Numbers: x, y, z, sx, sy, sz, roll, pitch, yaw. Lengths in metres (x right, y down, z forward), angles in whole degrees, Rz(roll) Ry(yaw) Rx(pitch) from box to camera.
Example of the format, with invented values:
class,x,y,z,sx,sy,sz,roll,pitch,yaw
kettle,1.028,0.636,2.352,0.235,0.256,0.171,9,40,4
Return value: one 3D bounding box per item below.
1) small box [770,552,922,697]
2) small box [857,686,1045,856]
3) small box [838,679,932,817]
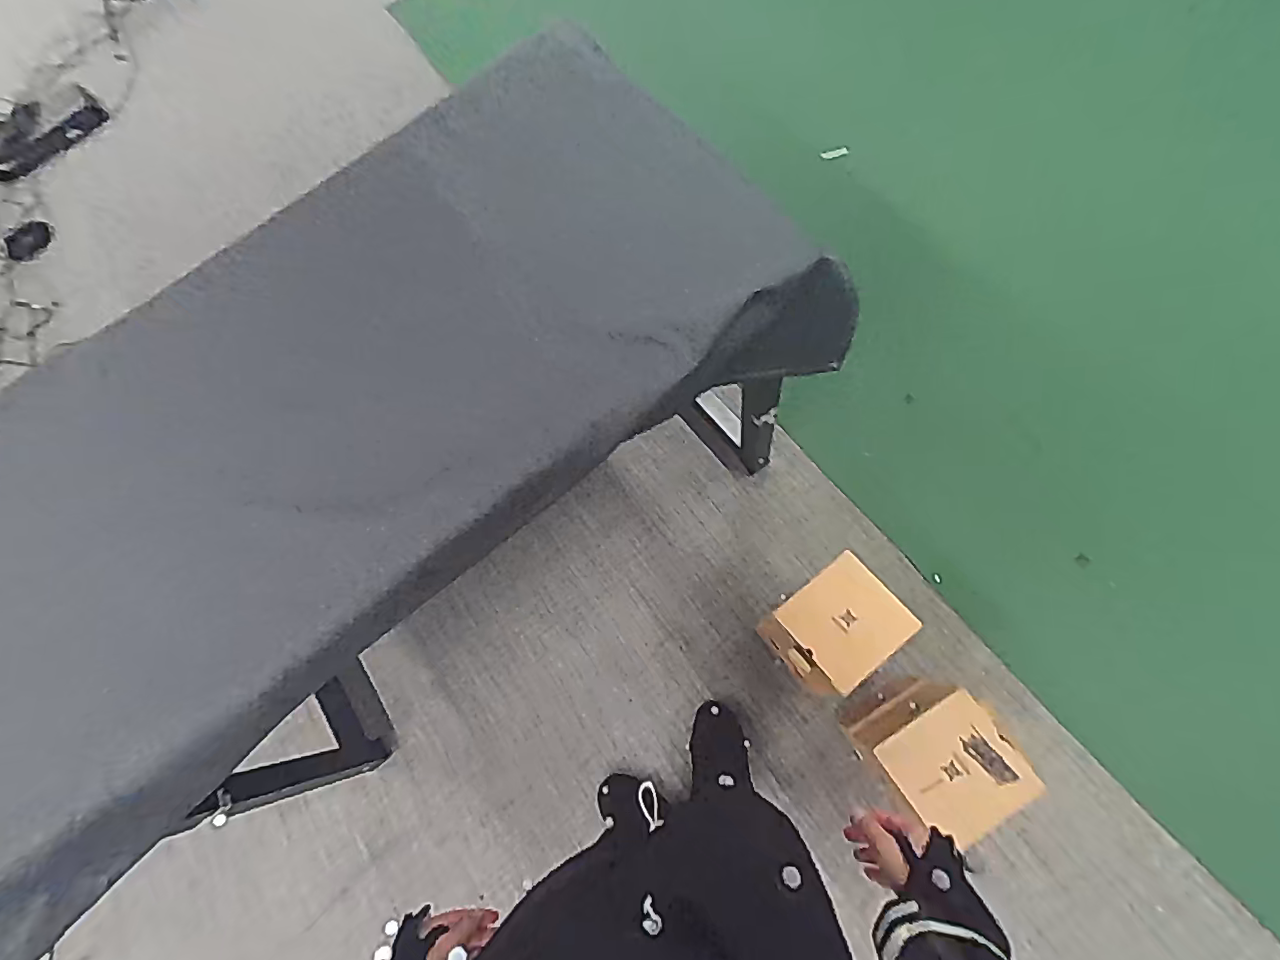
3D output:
class,x,y,z,sx,sy,sz,roll,pitch,yaw
small box,0.349,0.256,0.958,0.179,0.176,0.168,-40,70,-5
small box,0.481,0.451,0.871,0.179,0.176,0.168,-34,68,-2
small box,0.505,0.496,1.028,0.179,0.176,0.168,-34,69,-1
